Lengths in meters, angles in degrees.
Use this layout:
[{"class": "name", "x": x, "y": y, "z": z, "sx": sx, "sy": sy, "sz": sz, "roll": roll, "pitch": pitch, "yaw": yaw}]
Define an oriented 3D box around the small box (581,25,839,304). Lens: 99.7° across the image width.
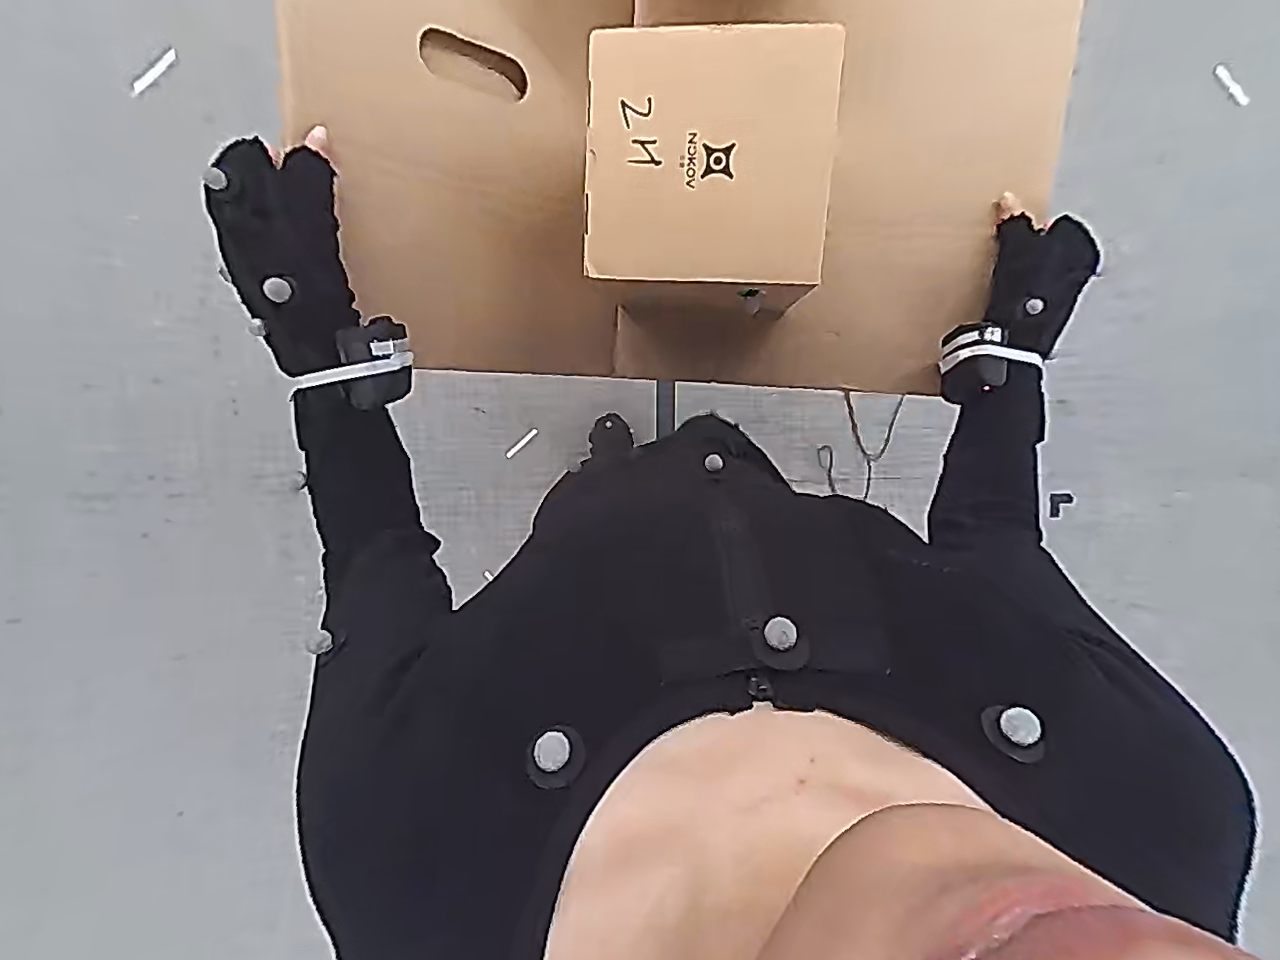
[{"class": "small box", "x": 0.055, "y": -0.251, "z": 0.470, "sx": 0.179, "sy": 0.176, "sz": 0.168, "roll": 5, "pitch": 101, "yaw": 7}]
